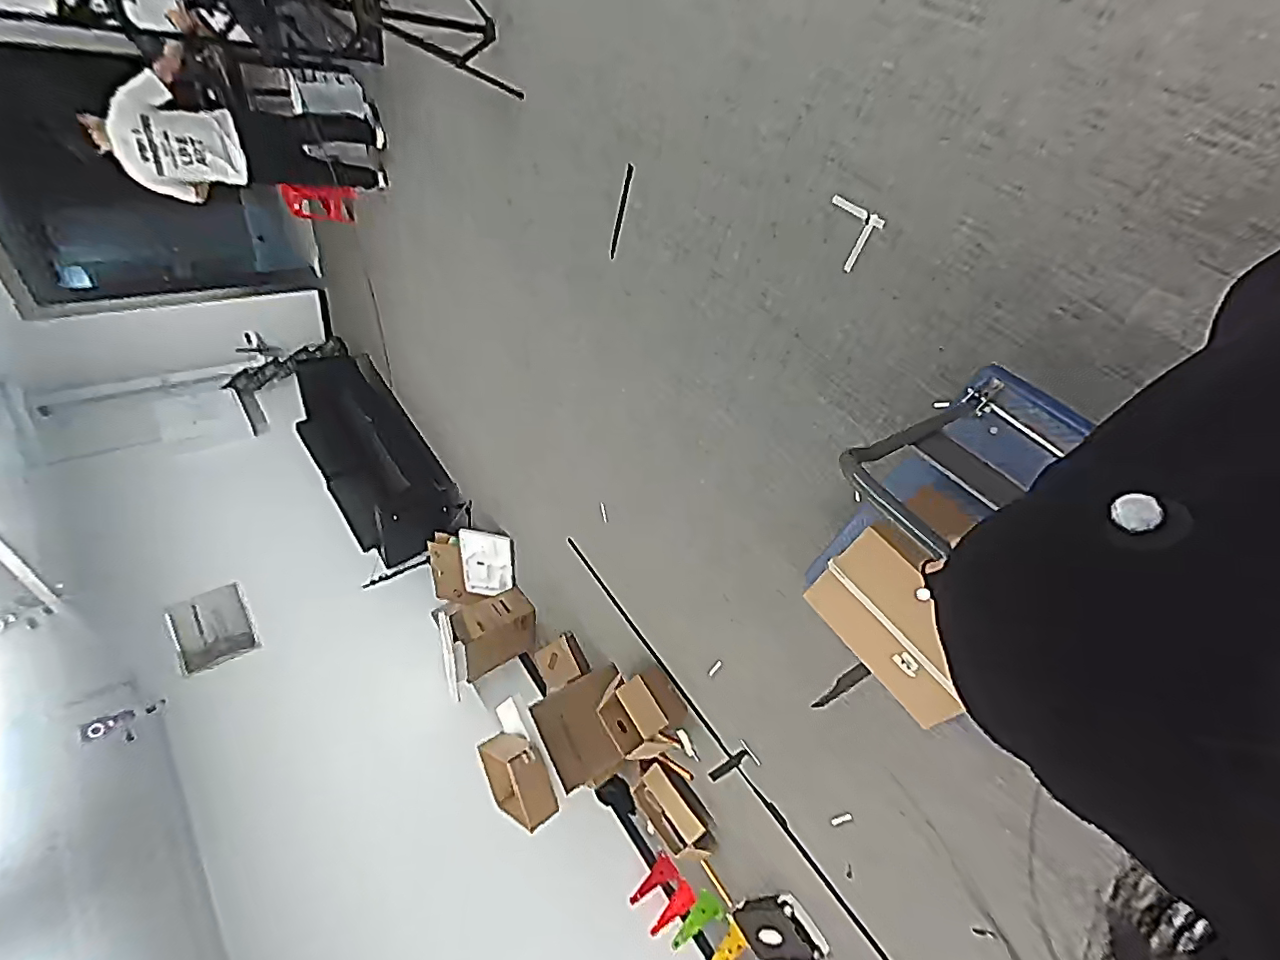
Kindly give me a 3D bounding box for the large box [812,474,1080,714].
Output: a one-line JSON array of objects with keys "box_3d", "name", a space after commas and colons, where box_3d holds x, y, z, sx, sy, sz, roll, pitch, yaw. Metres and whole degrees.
[{"box_3d": [0.713, 0.258, 1.299, 0.408, 0.320, 0.320, 48, 141, 23], "name": "large box"}]
